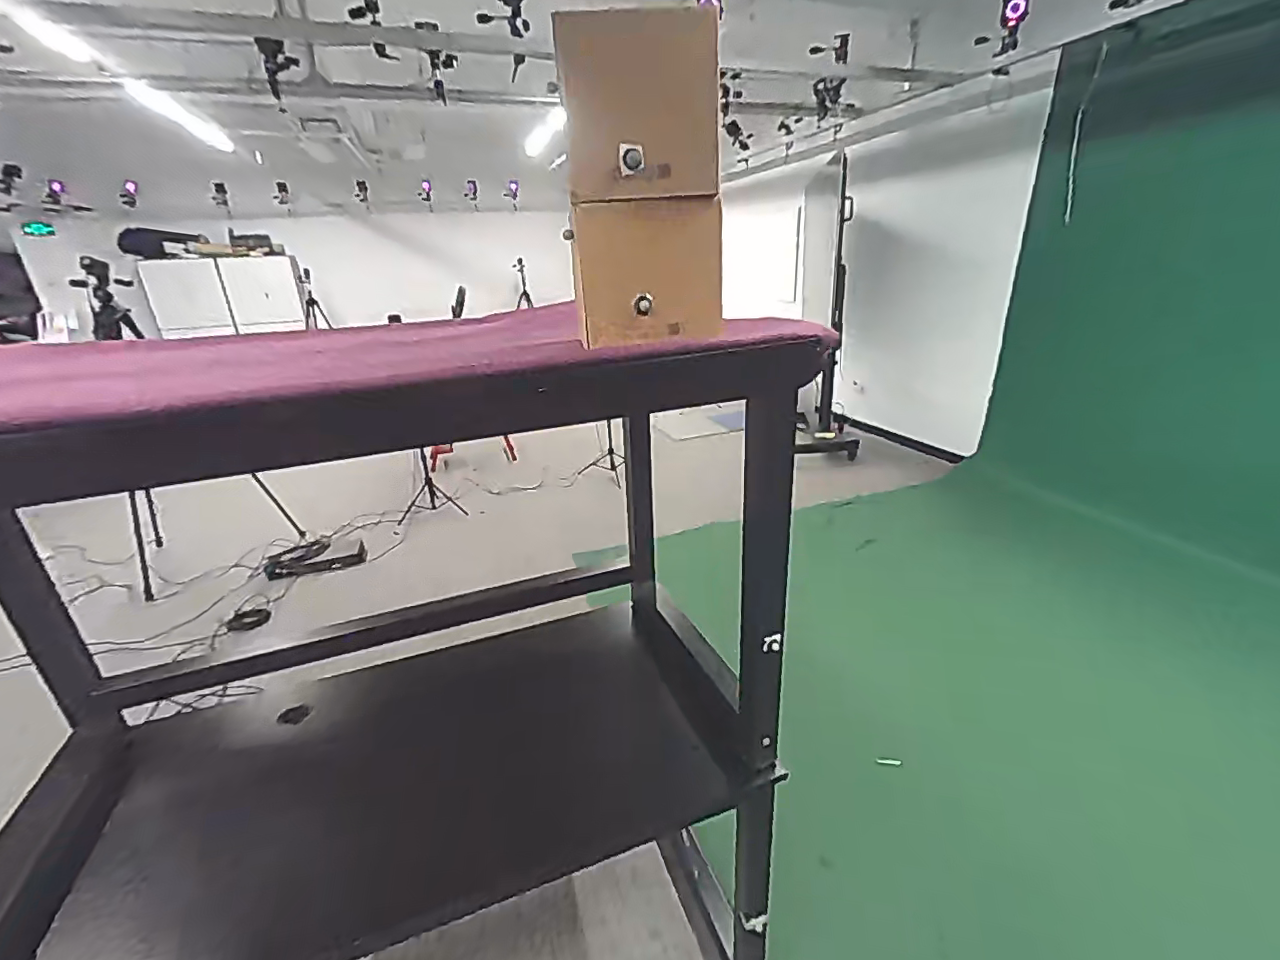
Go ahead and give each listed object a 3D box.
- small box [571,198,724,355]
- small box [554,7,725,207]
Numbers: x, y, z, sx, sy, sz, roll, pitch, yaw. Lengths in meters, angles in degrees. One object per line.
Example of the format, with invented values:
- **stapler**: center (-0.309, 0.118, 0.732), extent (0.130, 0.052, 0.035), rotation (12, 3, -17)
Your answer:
- **small box**: center (0.002, -0.258, 0.692), extent (0.168, 0.176, 0.179), rotation (-7, 24, -8)
- **small box**: center (-0.004, -0.404, 0.622), extent (0.168, 0.176, 0.179), rotation (-7, 25, -4)
